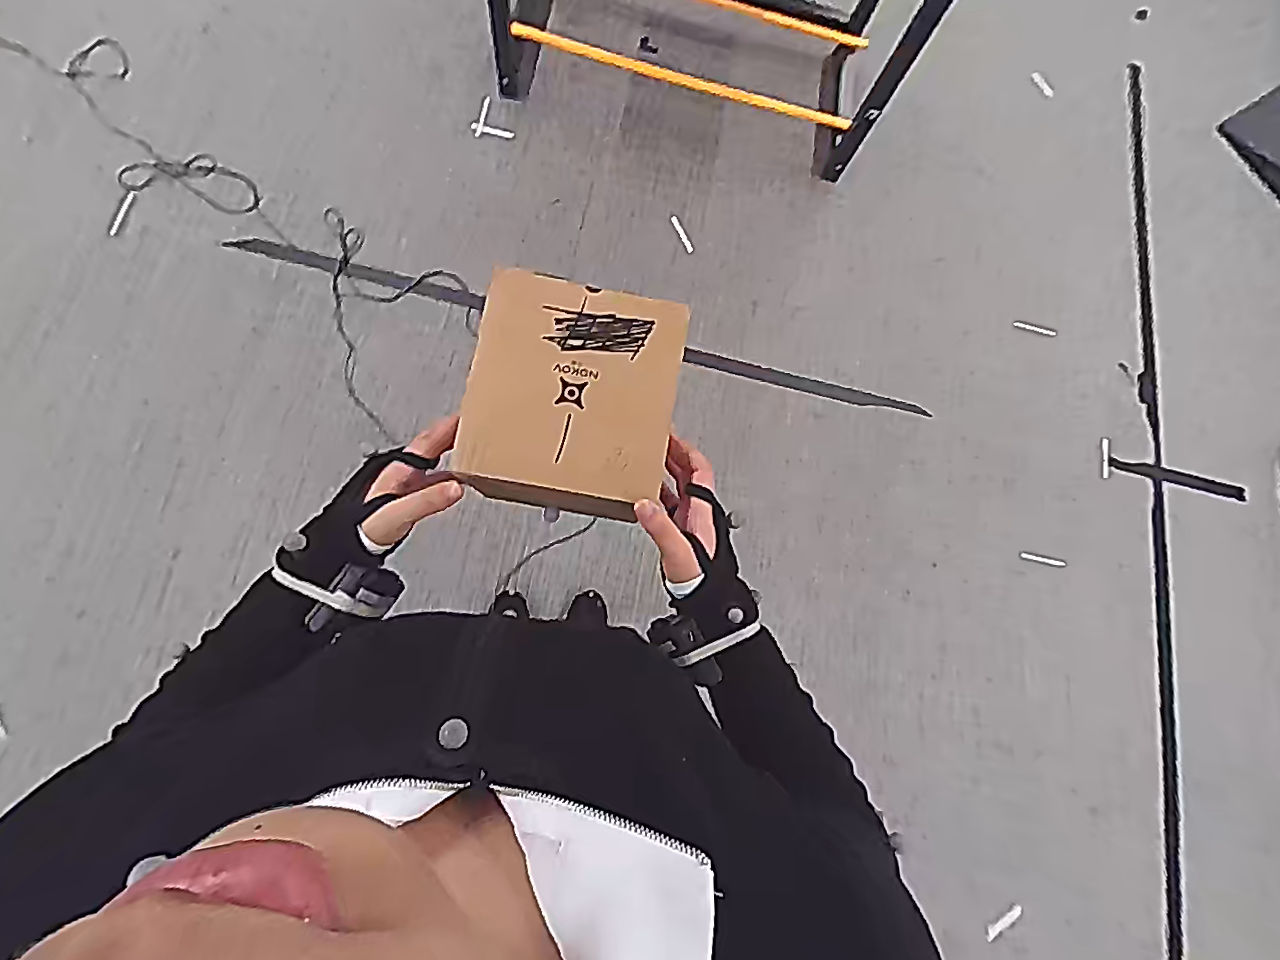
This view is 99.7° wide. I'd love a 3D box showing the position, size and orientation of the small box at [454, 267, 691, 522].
[{"bbox_3d":[-0.059,-0.064,0.512,0.168,0.176,0.179,10,80,-5],"label":"small box"}]
